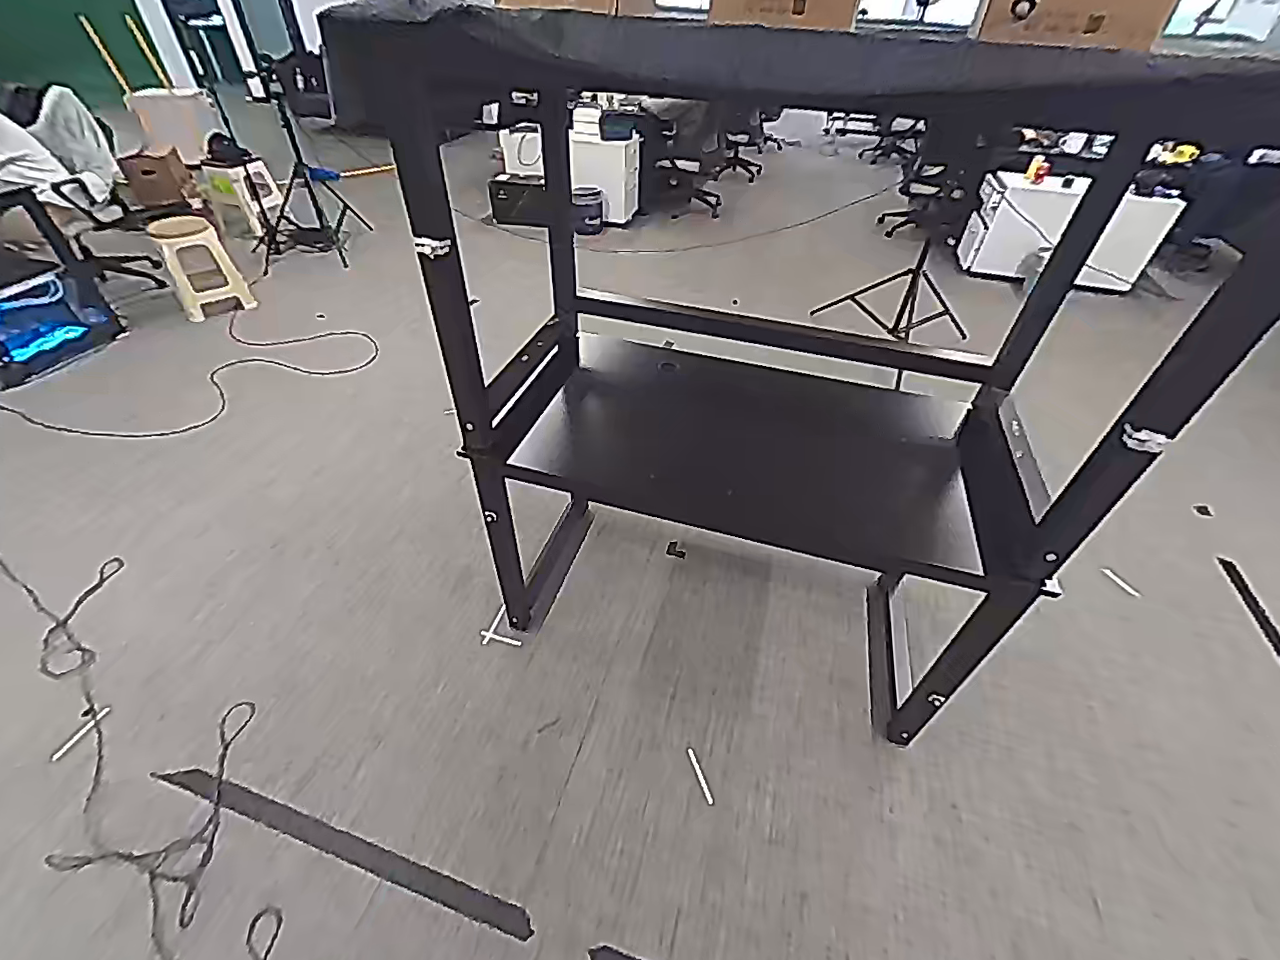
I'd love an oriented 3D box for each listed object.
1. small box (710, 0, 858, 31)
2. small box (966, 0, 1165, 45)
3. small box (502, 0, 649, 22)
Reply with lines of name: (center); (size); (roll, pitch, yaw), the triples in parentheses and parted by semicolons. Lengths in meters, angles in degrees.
small box: (0.184, -0.638, 0.627); (0.168, 0.176, 0.179); (13, 42, 12)
small box: (0.472, -0.574, 0.574); (0.168, 0.176, 0.179); (16, 42, 14)
small box: (-0.078, -0.695, 0.678); (0.168, 0.176, 0.179); (13, 42, 10)
